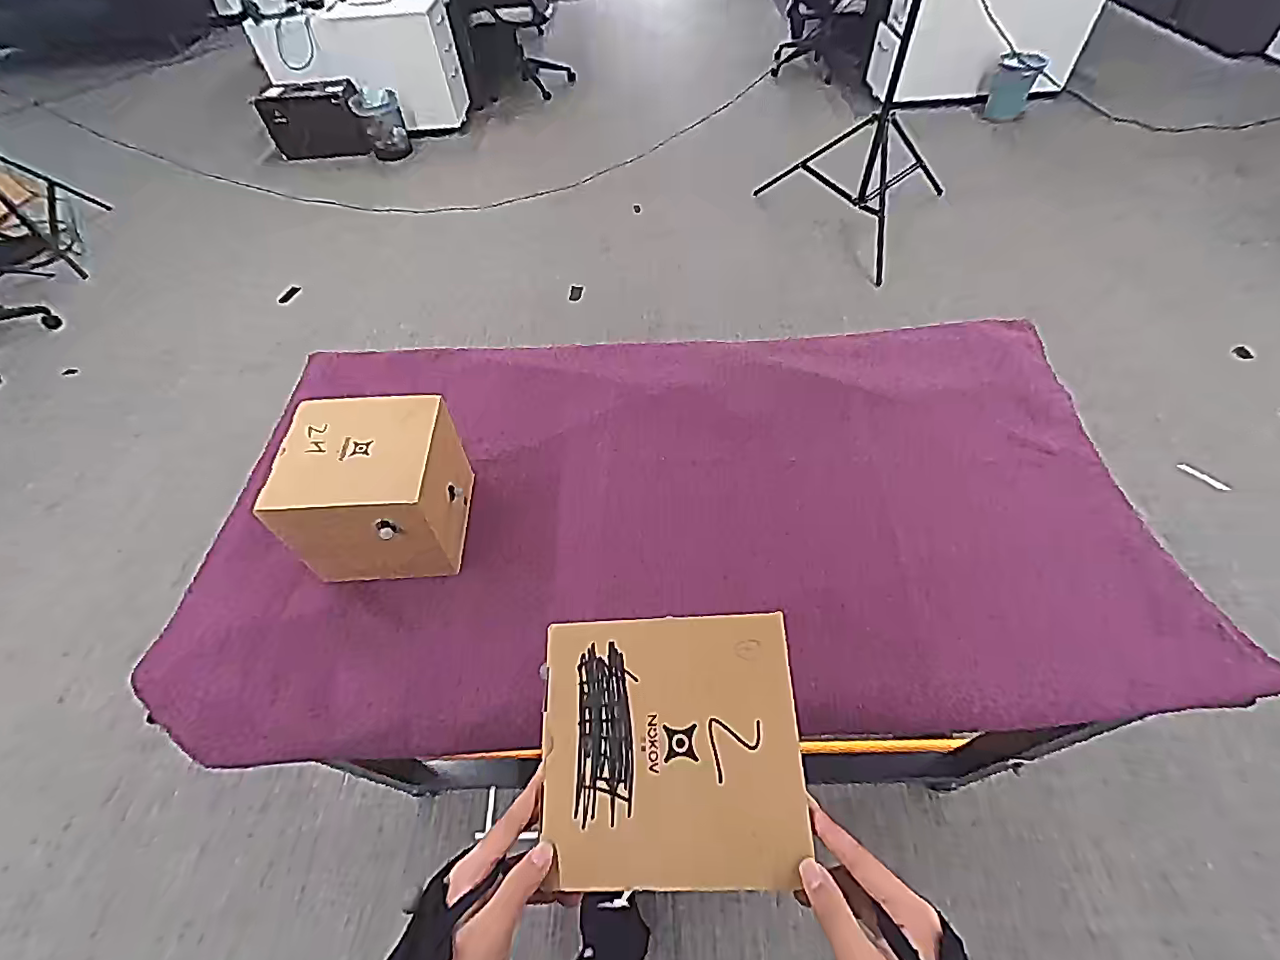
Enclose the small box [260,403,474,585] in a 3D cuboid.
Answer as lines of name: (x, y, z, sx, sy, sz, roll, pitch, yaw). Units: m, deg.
small box: (-0.323, 0.021, 0.688, 0.179, 0.176, 0.168, -3, 52, -2)
